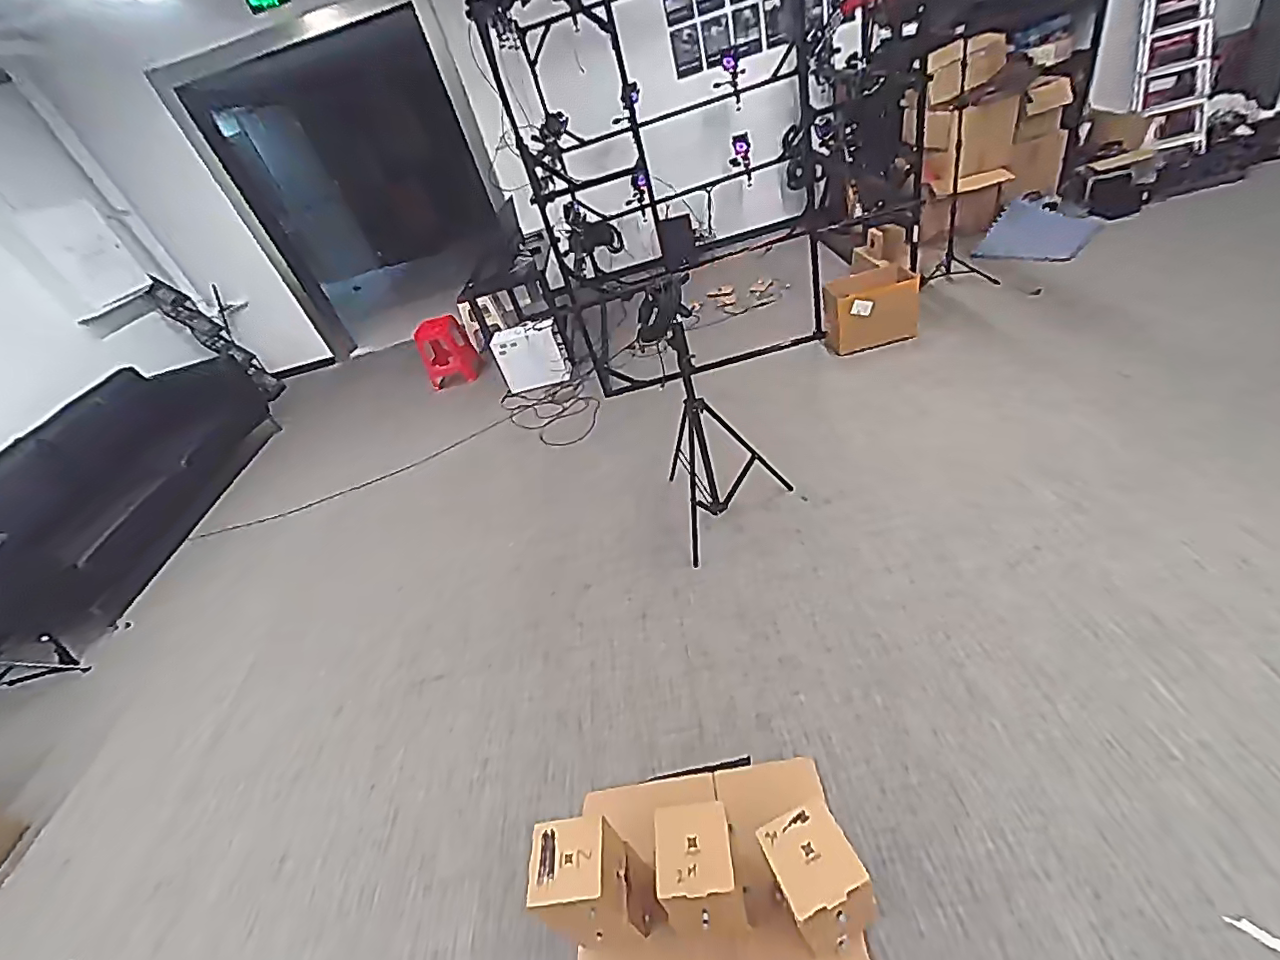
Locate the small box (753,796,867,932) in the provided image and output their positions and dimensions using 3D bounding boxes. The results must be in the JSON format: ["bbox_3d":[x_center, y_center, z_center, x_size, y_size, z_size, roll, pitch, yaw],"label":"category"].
[{"bbox_3d":[0.367,0.831,1.164,0.168,0.176,0.179,-25,38,-7],"label":"small box"}]

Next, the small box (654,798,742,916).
[{"bbox_3d":[0.130,0.857,1.229,0.168,0.176,0.179,-12,38,9],"label":"small box"}]

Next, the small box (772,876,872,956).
[{"bbox_3d":[0.416,0.953,1.262,0.168,0.176,0.179,-26,37,-8],"label":"small box"}]

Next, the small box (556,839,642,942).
[{"bbox_3d":[-0.095,1.039,1.368,0.179,0.176,0.168,-14,37,8],"label":"small box"}]

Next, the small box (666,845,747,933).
[{"bbox_3d":[0.162,0.986,1.329,0.179,0.176,0.168,-12,38,8],"label":"small box"}]
